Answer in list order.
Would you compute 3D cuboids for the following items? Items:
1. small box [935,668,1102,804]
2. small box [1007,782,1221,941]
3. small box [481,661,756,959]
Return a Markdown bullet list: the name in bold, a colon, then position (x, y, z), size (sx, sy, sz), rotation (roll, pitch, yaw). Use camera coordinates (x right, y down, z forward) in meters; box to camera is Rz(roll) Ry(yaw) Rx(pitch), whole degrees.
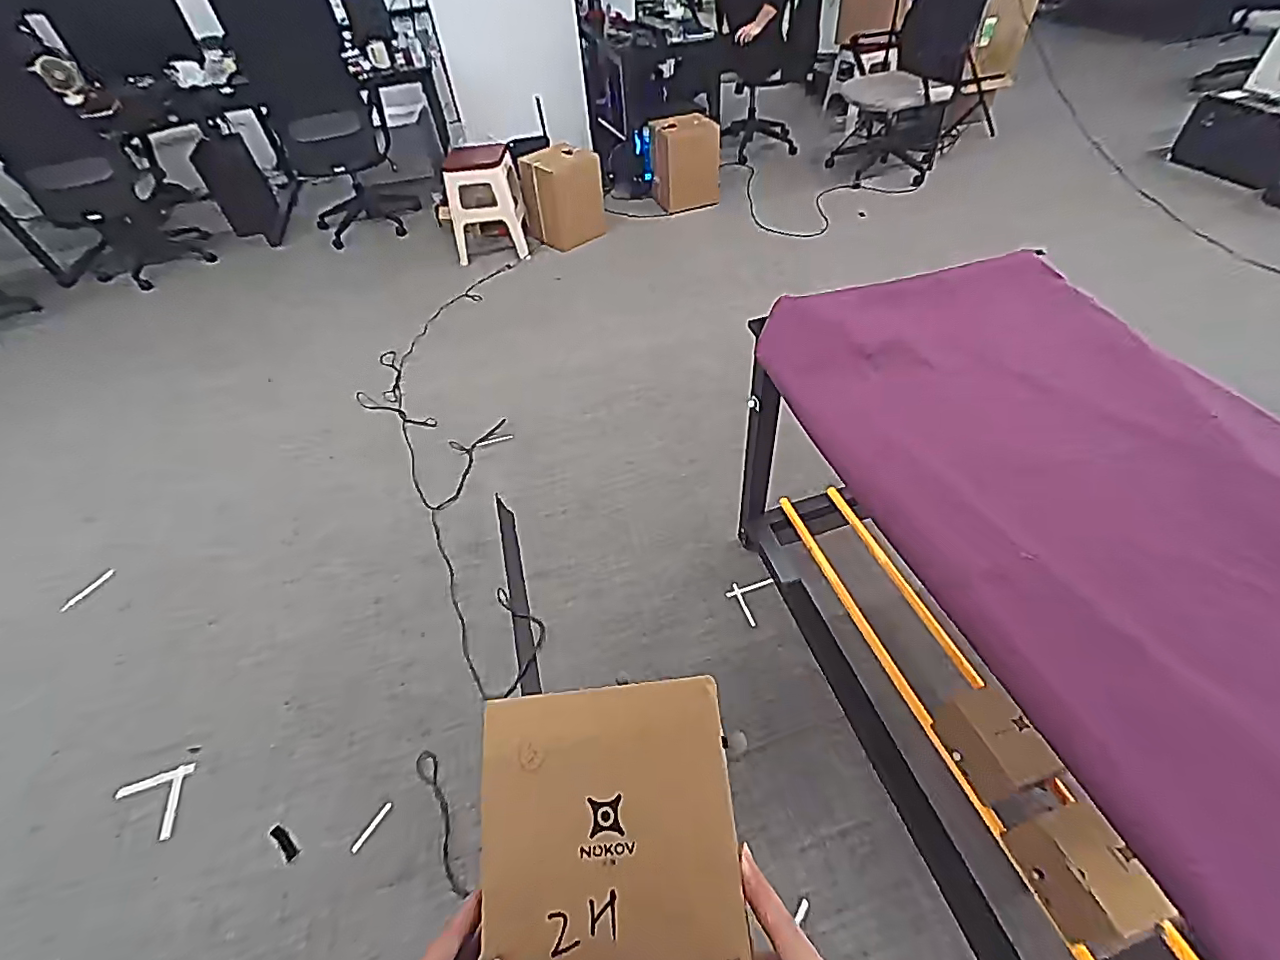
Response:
- **small box**: position (0.712, 0.495, 1.043), size (0.179, 0.176, 0.168), rotation (-18, 48, -7)
- **small box**: position (0.770, 0.638, 0.905), size (0.179, 0.176, 0.168), rotation (-17, 48, -7)
- **small box**: position (-0.011, 0.246, 0.419), size (0.168, 0.176, 0.179), rotation (-8, 66, 5)
